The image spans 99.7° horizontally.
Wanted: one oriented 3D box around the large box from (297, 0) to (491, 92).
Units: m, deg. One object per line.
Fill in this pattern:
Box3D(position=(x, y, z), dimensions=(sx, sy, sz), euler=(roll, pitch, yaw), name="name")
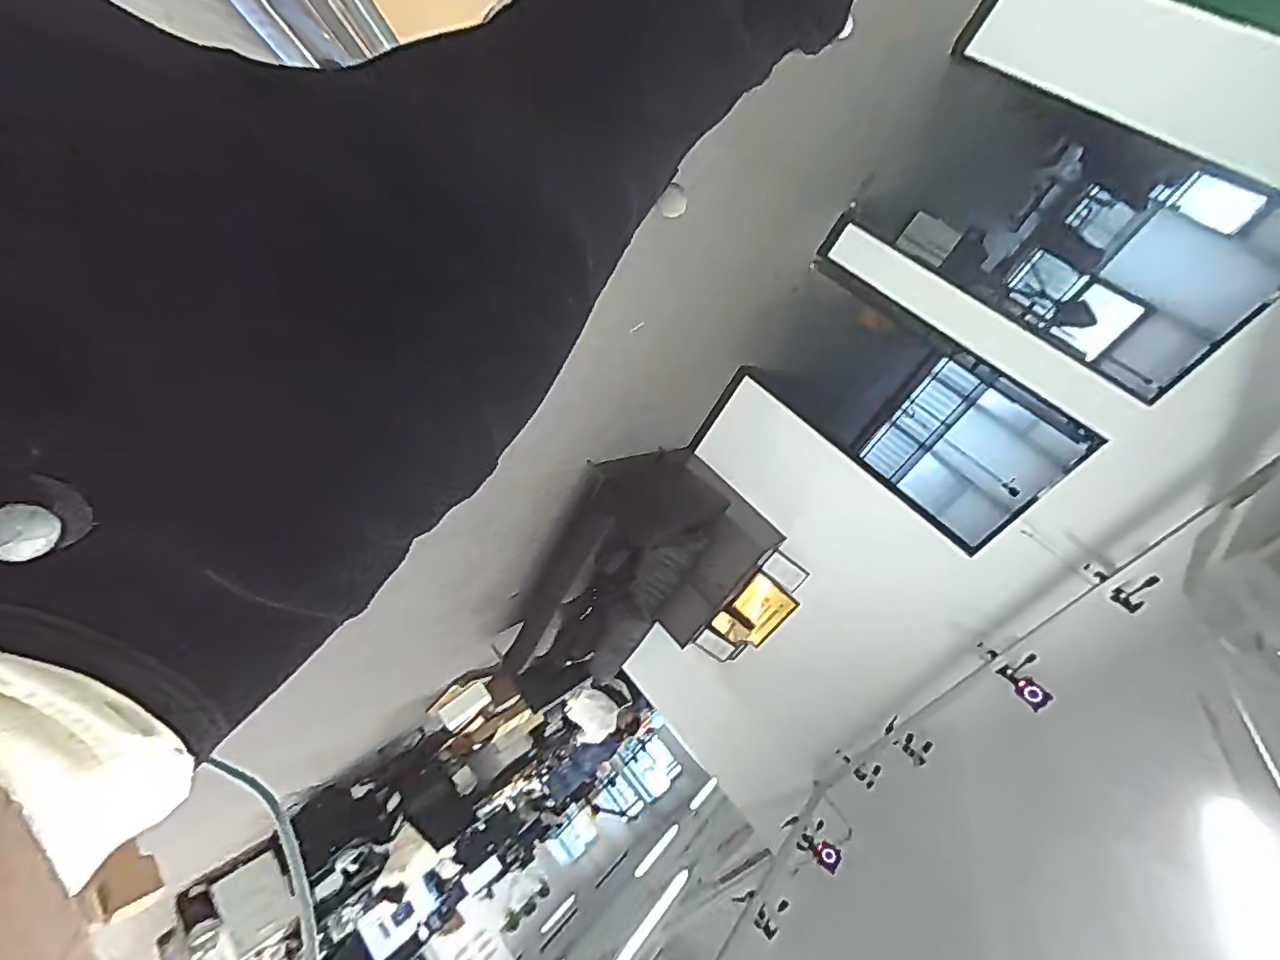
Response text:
Box3D(position=(-0.430, -0.961, 0.874), dimensions=(0.408, 0.320, 0.320), euler=(-45, 159, -1), name="large box")
